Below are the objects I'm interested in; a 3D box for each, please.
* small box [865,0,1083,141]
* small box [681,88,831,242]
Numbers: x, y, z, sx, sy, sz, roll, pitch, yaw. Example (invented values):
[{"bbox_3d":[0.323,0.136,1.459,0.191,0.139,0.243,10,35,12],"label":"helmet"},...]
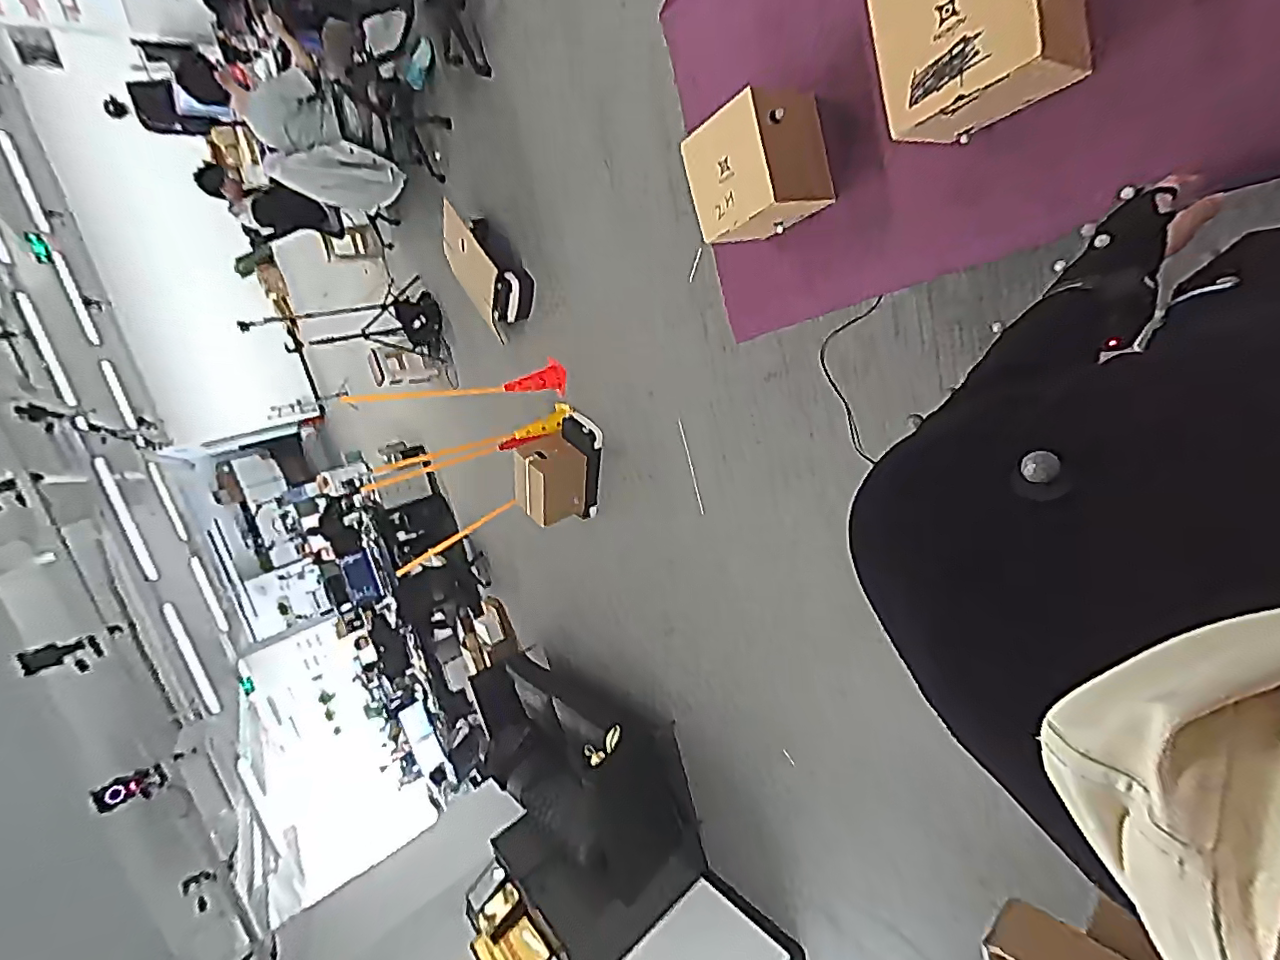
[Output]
[{"bbox_3d":[0.406,-0.543,0.656,0.168,0.176,0.179,-2,106,54],"label":"small box"},{"bbox_3d":[0.203,-0.533,0.938,0.168,0.176,0.179,-3,105,55],"label":"small box"}]
